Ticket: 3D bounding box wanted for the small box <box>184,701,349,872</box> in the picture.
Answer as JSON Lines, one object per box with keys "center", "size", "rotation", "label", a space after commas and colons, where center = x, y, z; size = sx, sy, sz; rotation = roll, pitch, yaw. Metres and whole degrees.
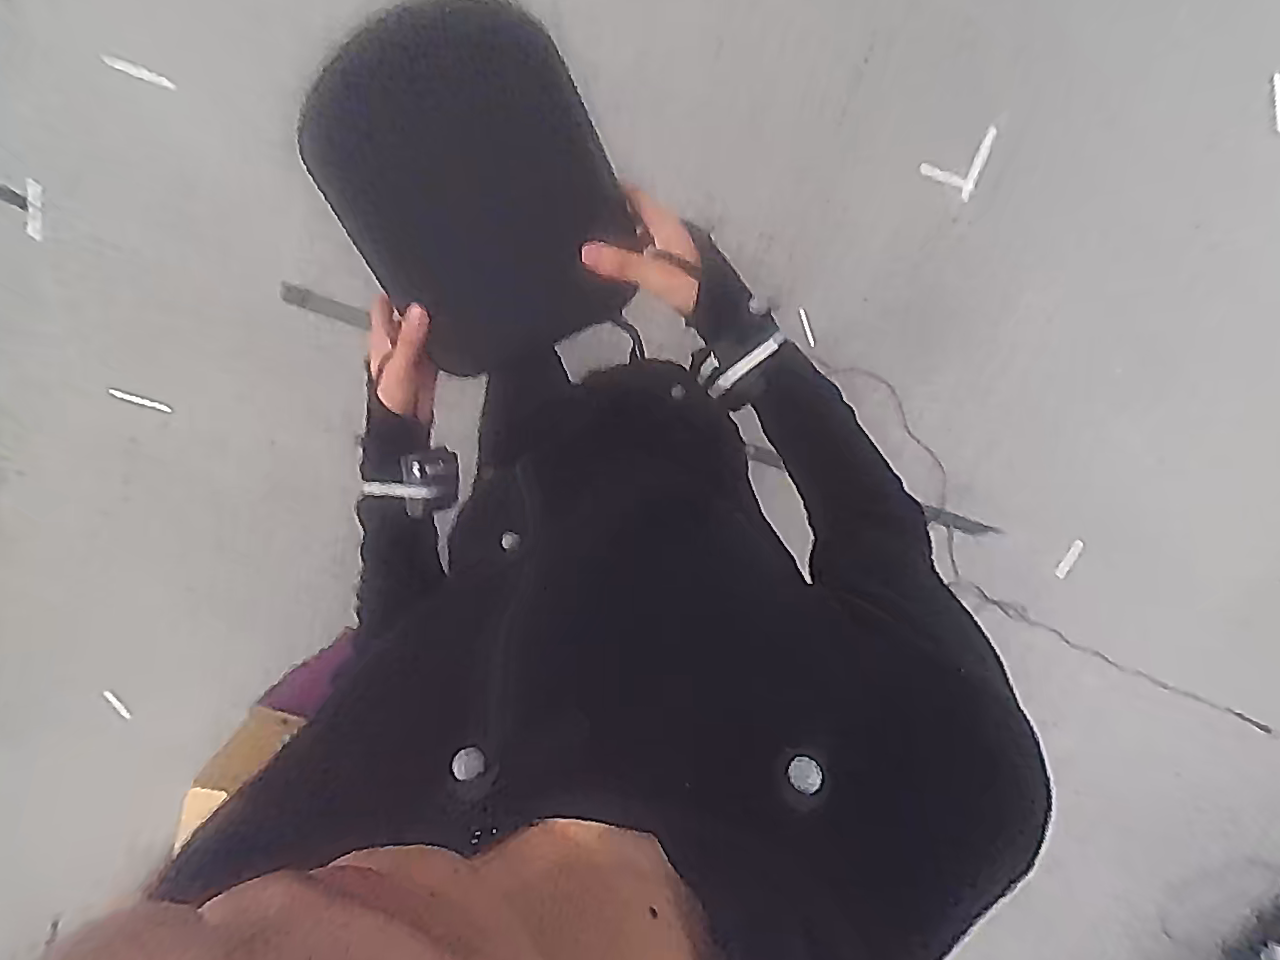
{"center": [-0.637, 0.526, 0.941], "size": [0.168, 0.176, 0.179], "rotation": [22, 108, -11], "label": "small box"}
